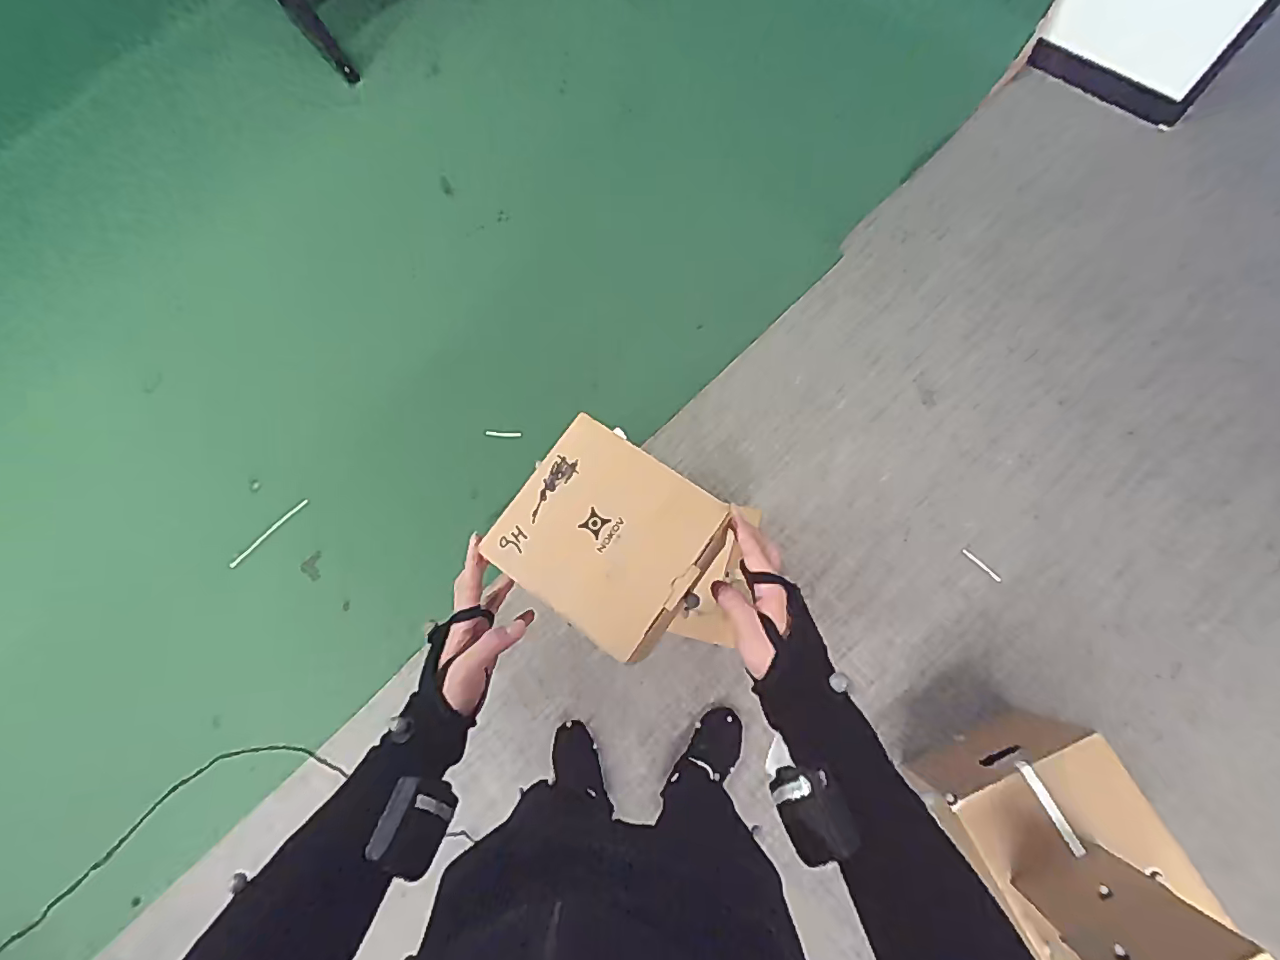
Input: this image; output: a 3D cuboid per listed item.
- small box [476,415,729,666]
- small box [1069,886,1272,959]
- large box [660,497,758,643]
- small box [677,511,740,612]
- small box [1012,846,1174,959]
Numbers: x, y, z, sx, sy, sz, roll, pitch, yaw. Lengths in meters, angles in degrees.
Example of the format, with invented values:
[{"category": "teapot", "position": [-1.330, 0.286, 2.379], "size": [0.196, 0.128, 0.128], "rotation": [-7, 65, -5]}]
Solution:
[{"category": "small box", "position": [-0.028, 0.066, 0.563], "size": [0.179, 0.176, 0.168], "rotation": [35, 81, 14]}, {"category": "small box", "position": [0.716, 0.684, 0.706], "size": [0.179, 0.176, 0.168], "rotation": [-26, 73, 2]}, {"category": "large box", "position": [0.072, 0.212, 1.370], "size": [0.408, 0.320, 0.320], "rotation": [11, 76, 13]}, {"category": "small box", "position": [0.071, 0.129, 0.962], "size": [0.179, 0.176, 0.168], "rotation": [16, 77, 13]}, {"category": "small box", "position": [0.751, 0.725, 0.860], "size": [0.179, 0.176, 0.168], "rotation": [-25, 72, 4]}]
